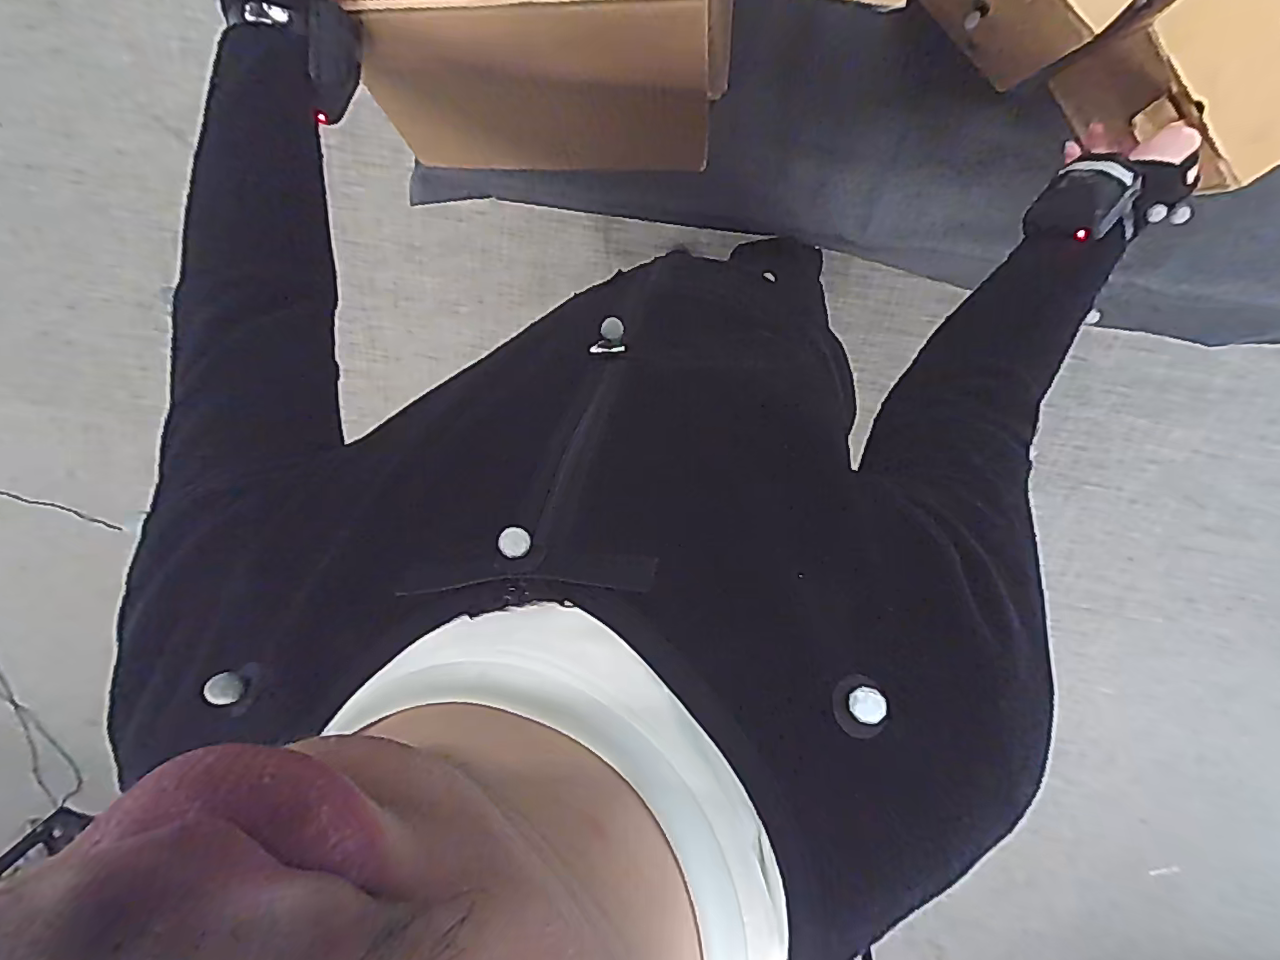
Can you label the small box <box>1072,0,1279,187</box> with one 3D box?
[{"bbox_3d":[0.543,-0.396,0.489,0.179,0.176,0.168,-38,102,23],"label":"small box"}]
